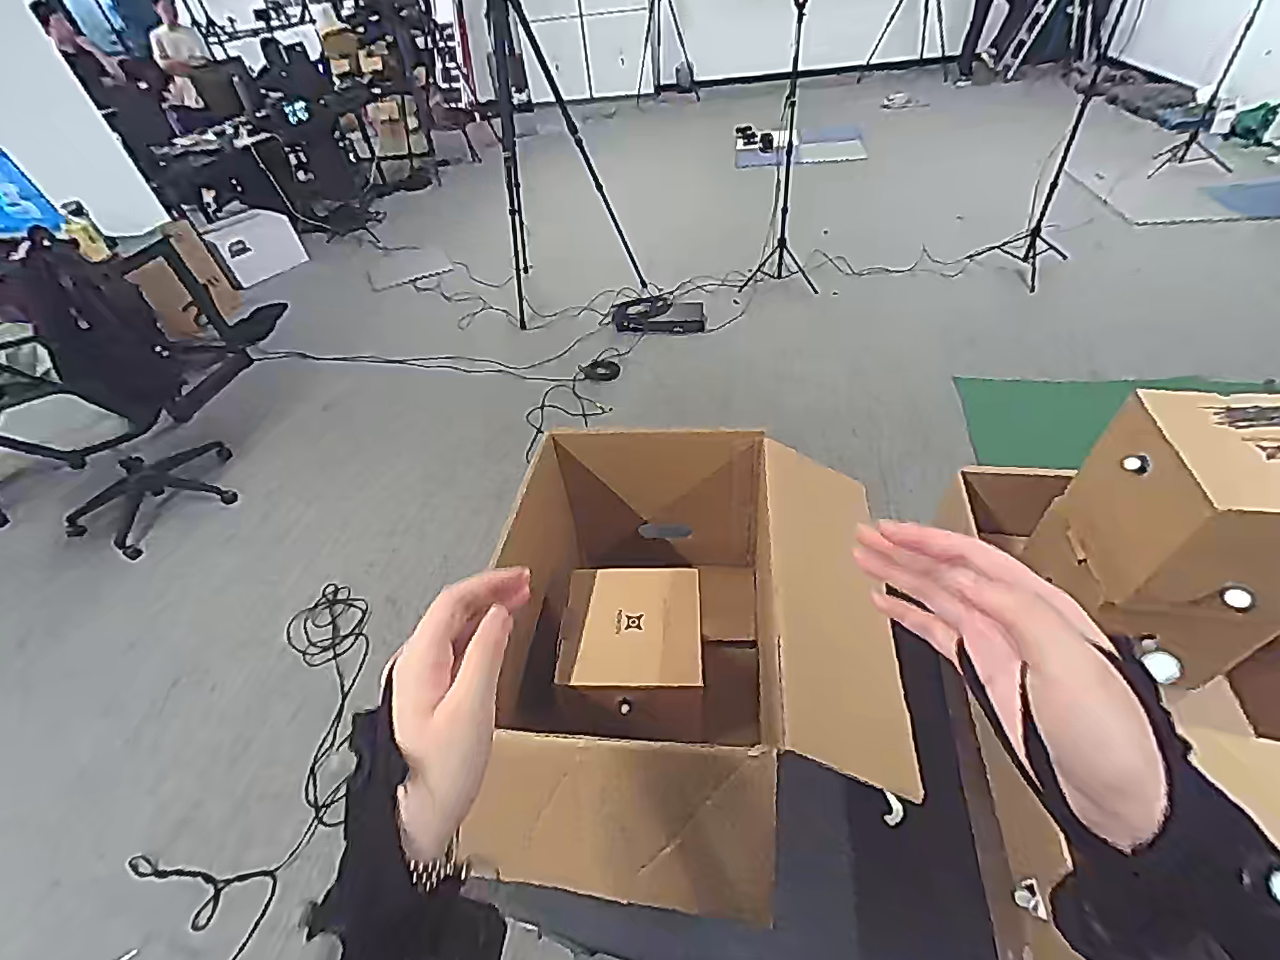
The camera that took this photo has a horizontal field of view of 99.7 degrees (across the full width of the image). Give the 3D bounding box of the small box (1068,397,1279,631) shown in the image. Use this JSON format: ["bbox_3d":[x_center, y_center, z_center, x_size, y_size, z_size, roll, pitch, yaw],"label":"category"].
[{"bbox_3d":[0.603,0.033,0.573,0.168,0.176,0.179,4,47,12],"label":"small box"}]
